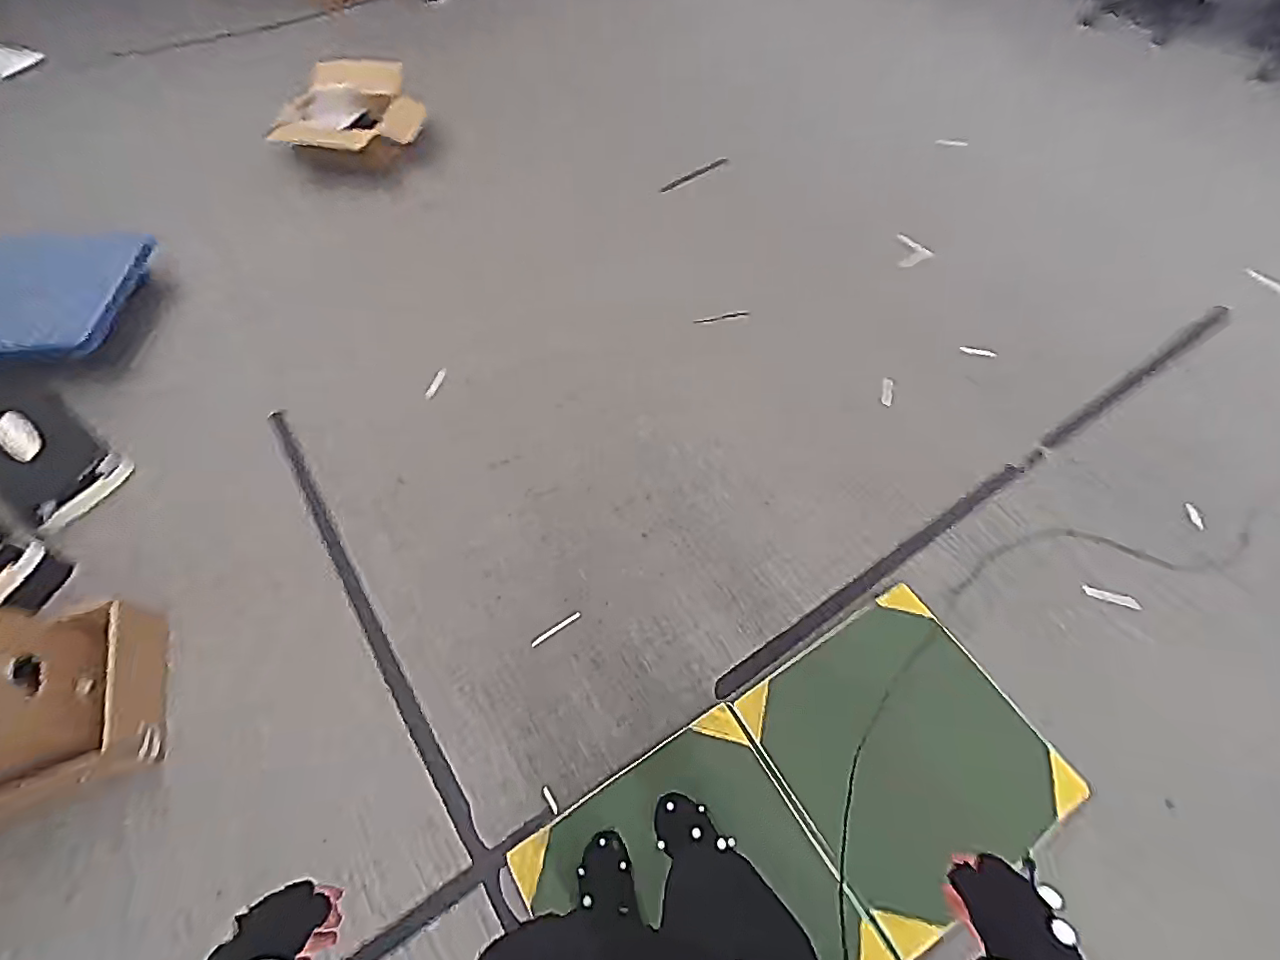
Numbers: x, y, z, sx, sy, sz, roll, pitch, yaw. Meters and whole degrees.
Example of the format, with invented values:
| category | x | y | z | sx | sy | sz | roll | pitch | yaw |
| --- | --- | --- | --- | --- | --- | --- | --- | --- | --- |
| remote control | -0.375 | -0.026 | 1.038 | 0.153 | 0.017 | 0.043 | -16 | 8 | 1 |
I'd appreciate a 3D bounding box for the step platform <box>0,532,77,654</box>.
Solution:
| category | x | y | z | sx | sy | sz | roll | pitch | yaw |
| --- | --- | --- | --- | --- | --- | --- | --- | --- | --- |
| step platform | -2.028 | 0.227 | 1.563 | 0.684 | 0.204 | 0.286 | 23 | 64 | 13 |
